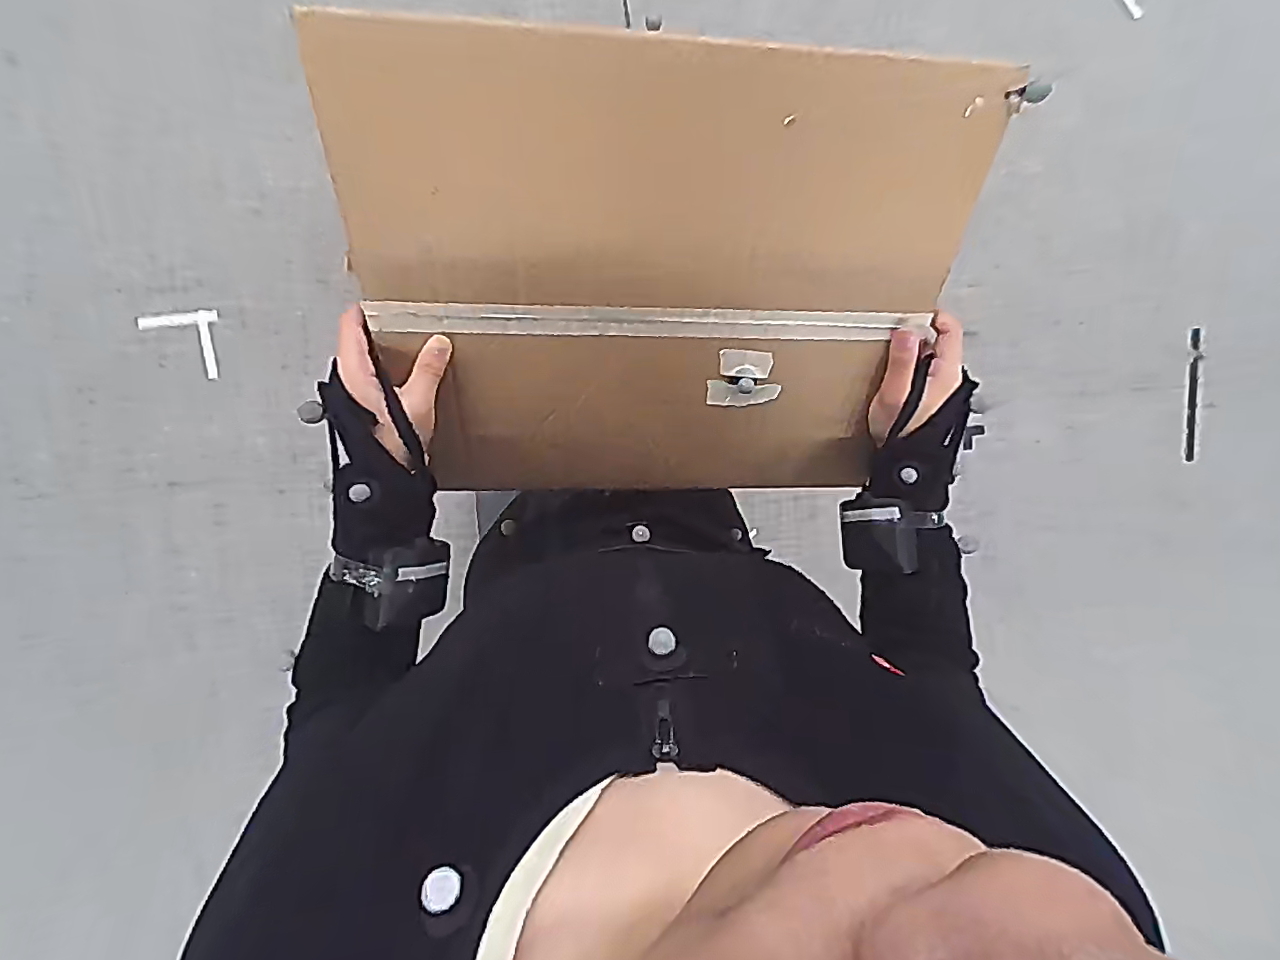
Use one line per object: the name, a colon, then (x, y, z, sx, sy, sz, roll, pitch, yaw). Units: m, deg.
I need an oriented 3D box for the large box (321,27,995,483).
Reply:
large box: (0.000, -0.216, 0.517, 0.408, 0.320, 0.320, -2, 129, -7)
